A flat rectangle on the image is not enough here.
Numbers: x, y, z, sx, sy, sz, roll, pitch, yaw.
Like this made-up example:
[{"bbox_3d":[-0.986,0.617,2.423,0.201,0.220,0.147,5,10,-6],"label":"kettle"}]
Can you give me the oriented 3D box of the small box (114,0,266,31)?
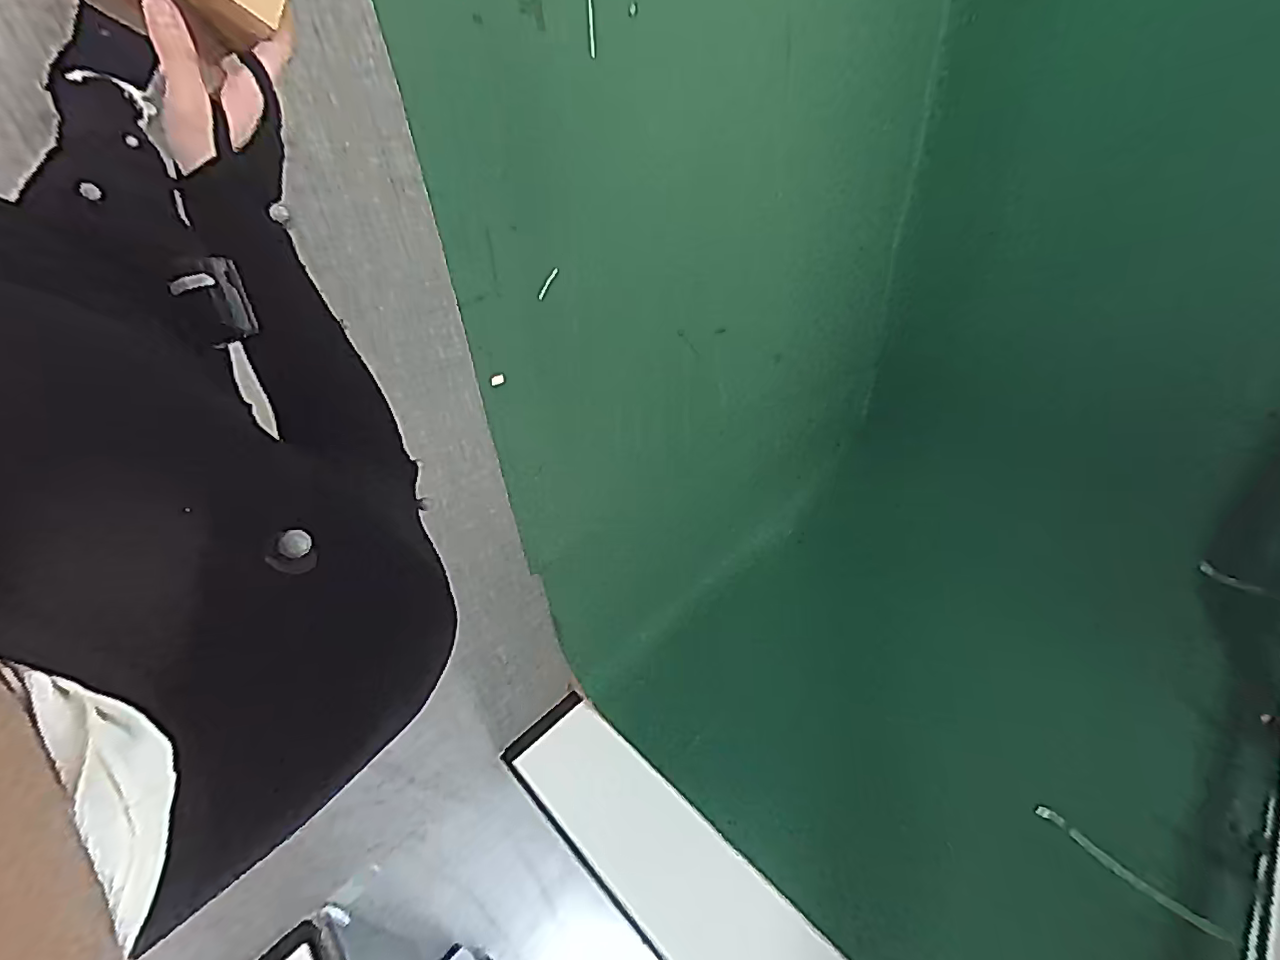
[{"bbox_3d":[-0.352,-0.438,0.348,0.179,0.176,0.168,9,98,-54],"label":"small box"}]
